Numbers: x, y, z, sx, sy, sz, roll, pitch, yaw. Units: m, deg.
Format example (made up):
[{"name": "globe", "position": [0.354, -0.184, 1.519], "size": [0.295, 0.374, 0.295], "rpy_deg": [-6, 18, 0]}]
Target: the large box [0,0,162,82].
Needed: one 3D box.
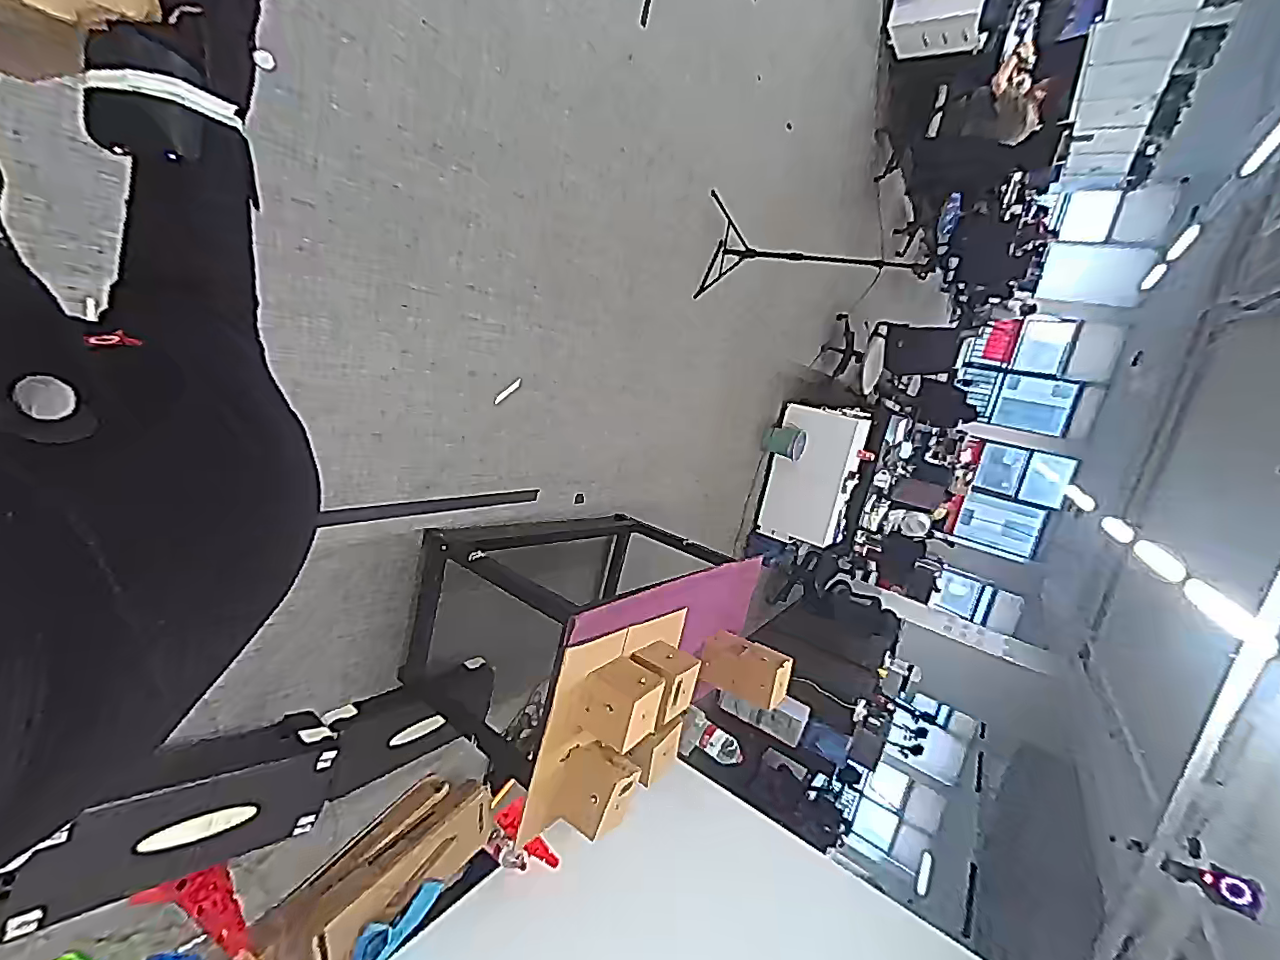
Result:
[{"name": "large box", "position": [-0.524, -0.453, 0.238], "size": [0.408, 0.320, 0.320], "rpy_deg": [-8, 116, -58]}]
